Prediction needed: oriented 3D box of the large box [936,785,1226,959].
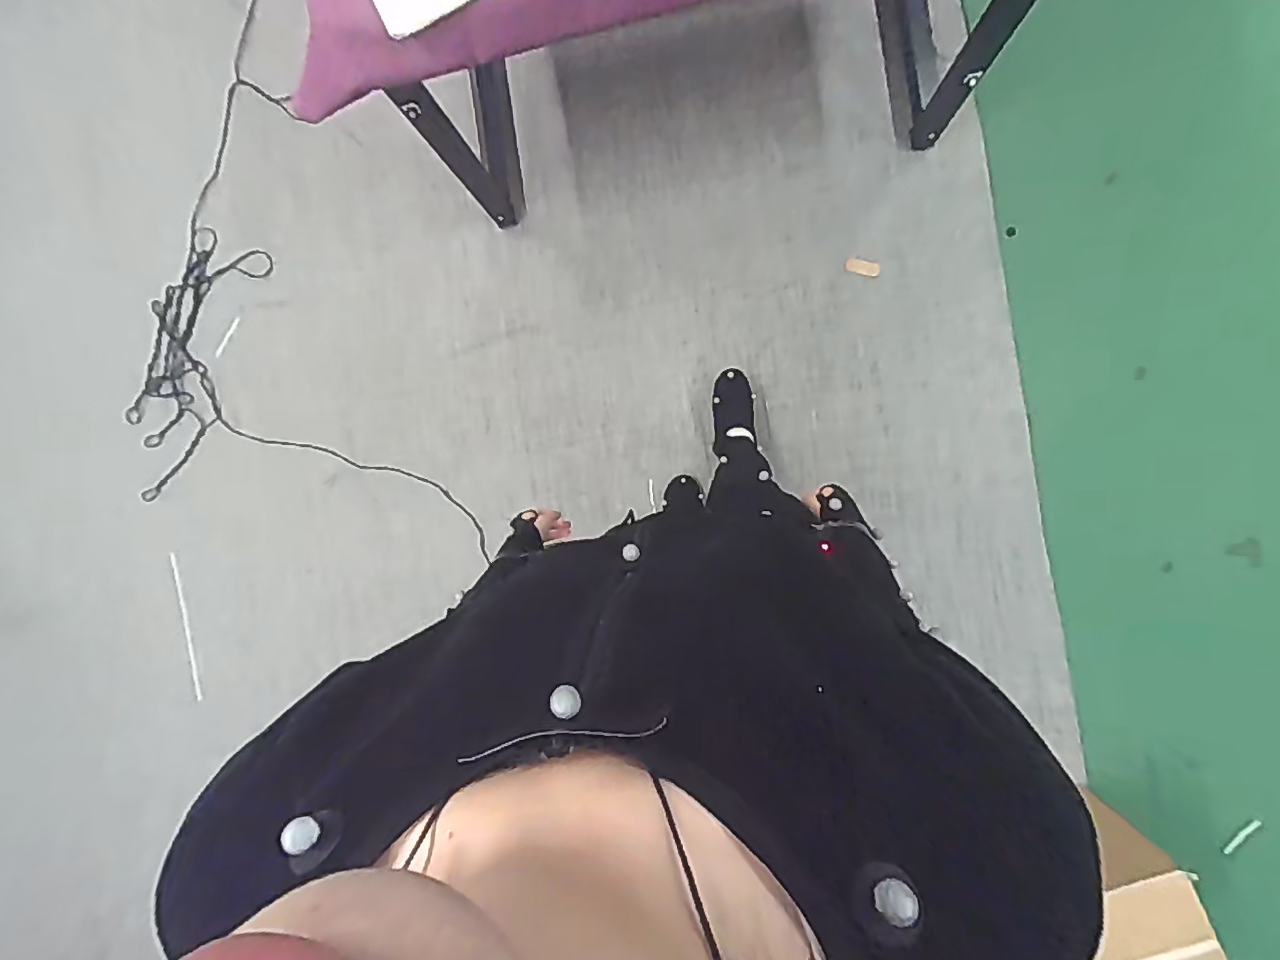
[{"bbox_3d":[1.008,1.004,1.271,0.408,0.320,0.320,-23,89,6],"label":"large box"}]
